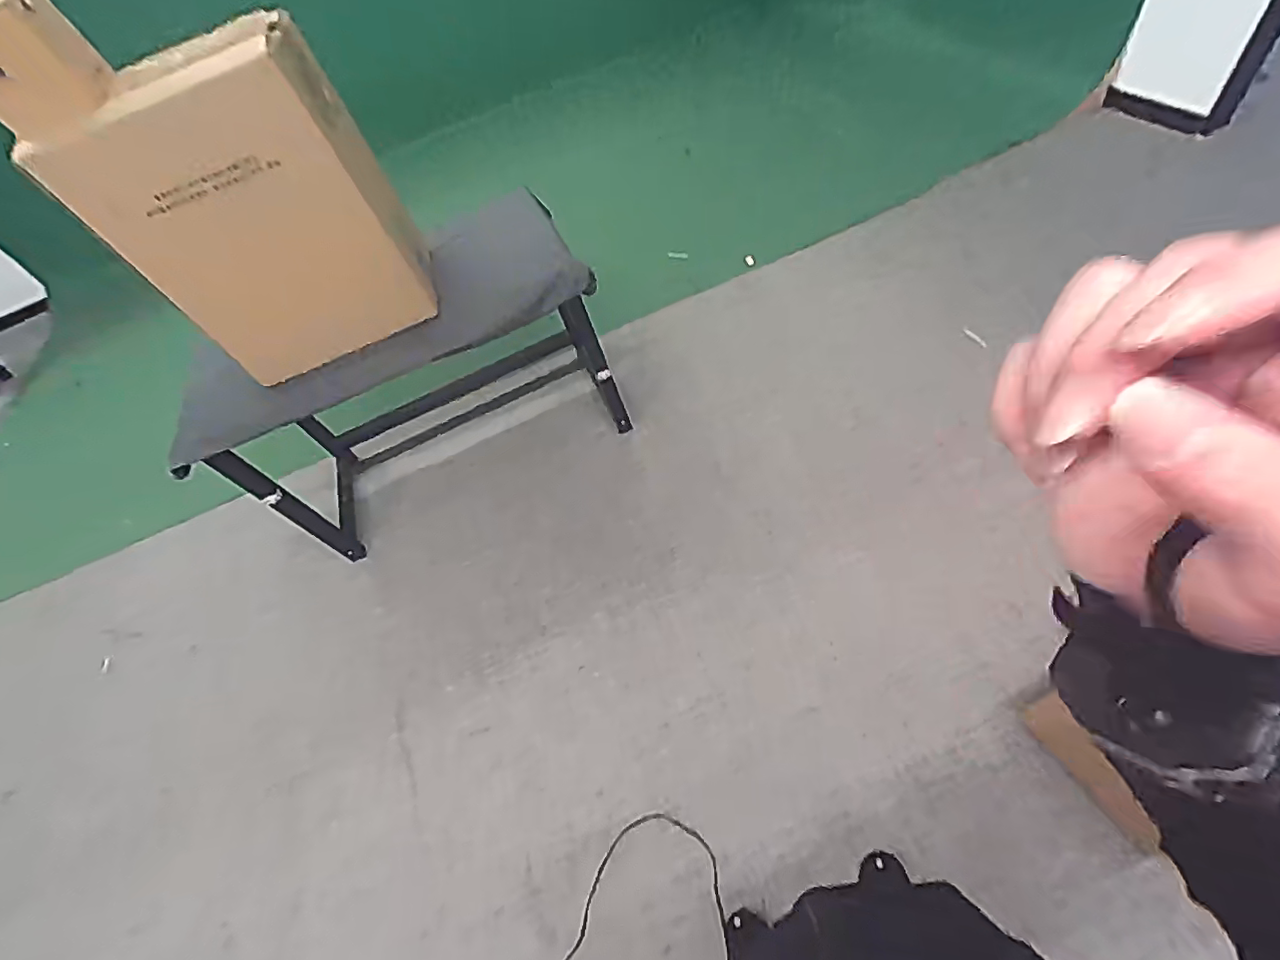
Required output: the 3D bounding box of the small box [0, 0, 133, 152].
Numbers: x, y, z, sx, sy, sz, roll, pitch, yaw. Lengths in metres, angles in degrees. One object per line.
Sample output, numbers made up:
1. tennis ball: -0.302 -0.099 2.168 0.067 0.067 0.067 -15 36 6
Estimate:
1. small box: -1.160 -0.783 1.053 0.179 0.176 0.168 -23 60 0
